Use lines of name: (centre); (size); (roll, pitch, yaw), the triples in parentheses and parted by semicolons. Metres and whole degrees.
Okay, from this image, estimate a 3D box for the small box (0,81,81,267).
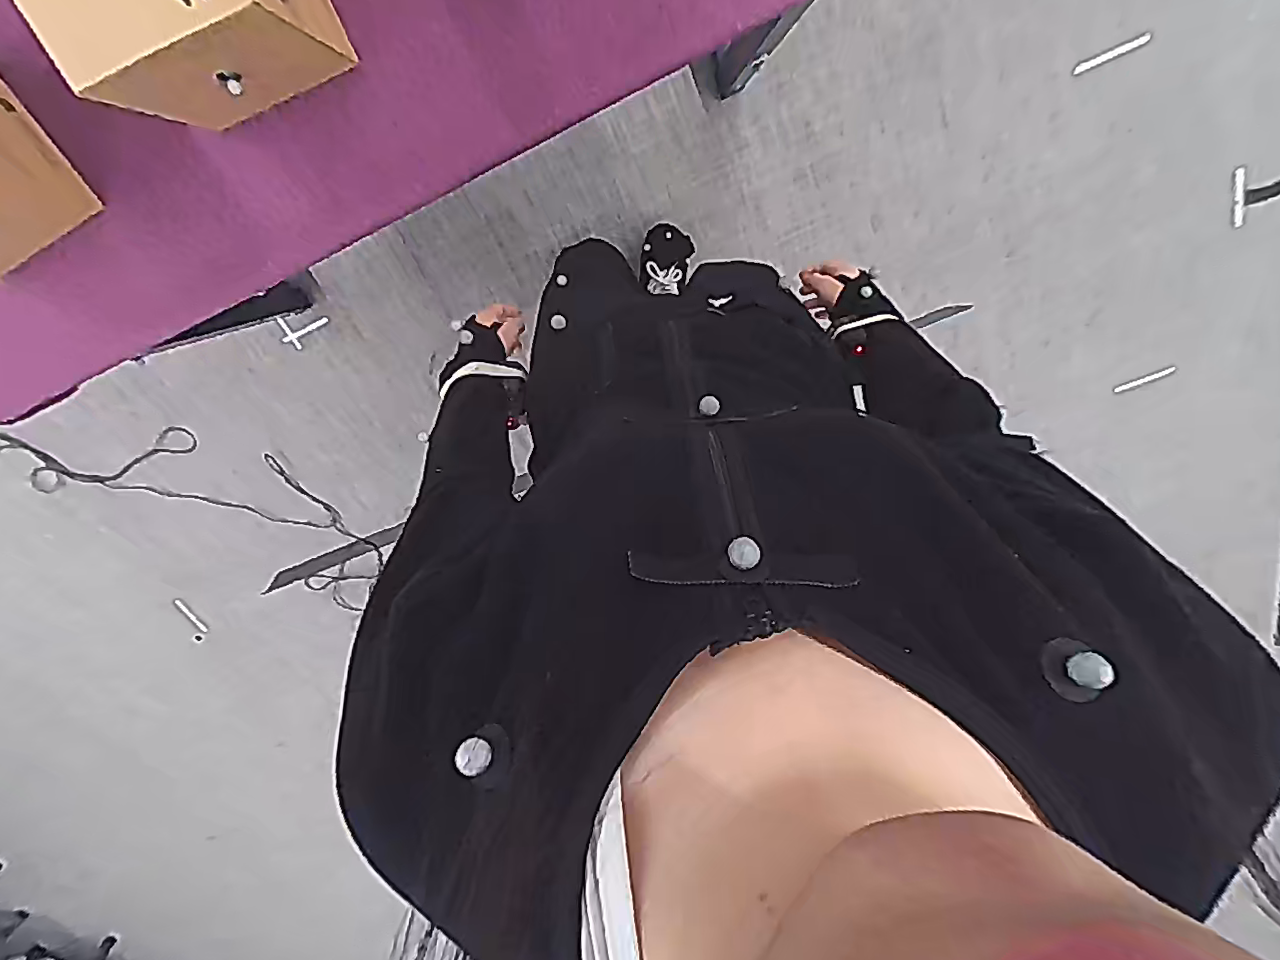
small box: (-0.709, -0.309, 0.512); (0.179, 0.176, 0.168); (-24, 112, 10)
